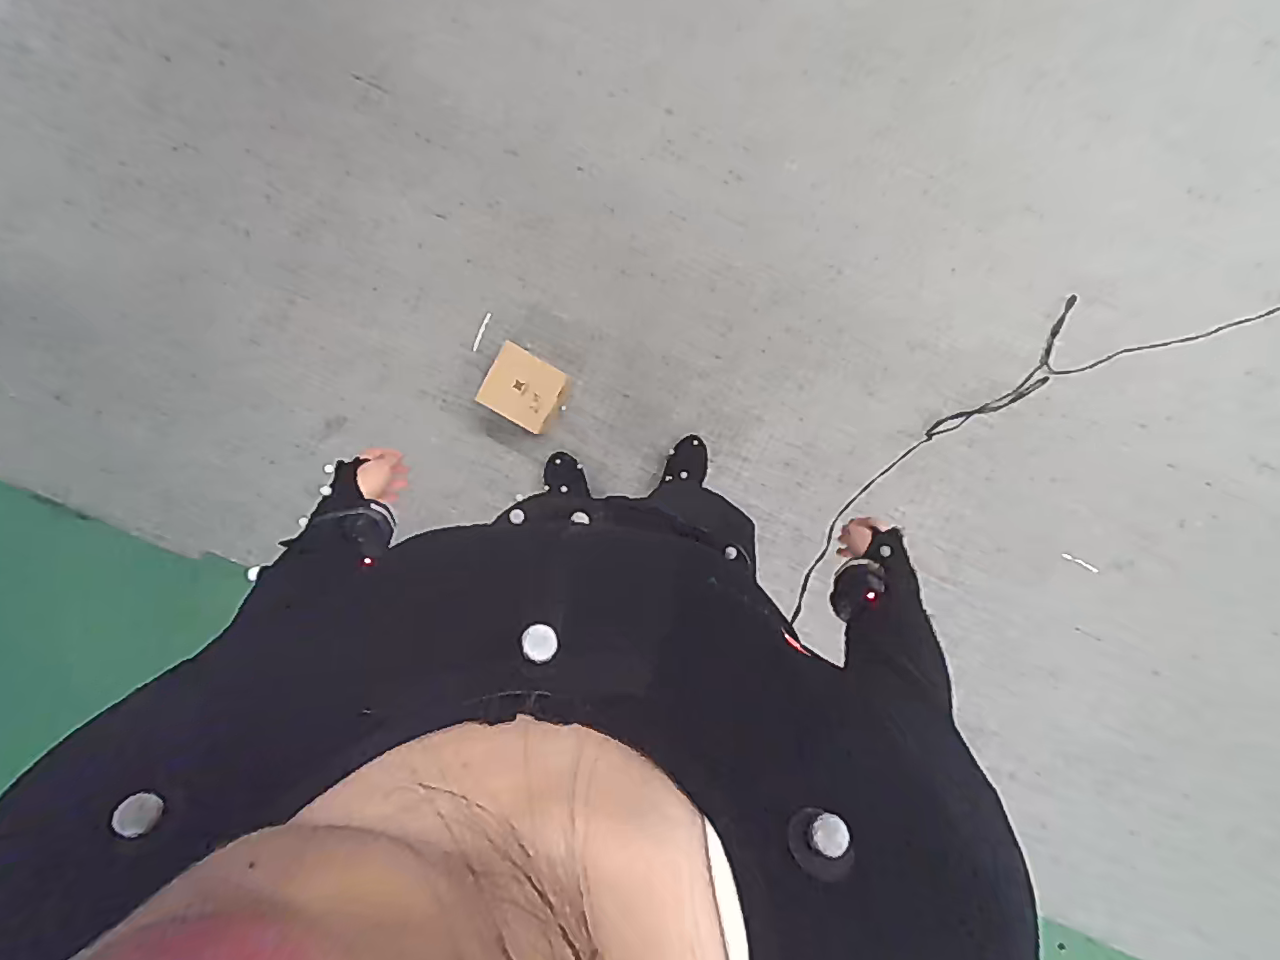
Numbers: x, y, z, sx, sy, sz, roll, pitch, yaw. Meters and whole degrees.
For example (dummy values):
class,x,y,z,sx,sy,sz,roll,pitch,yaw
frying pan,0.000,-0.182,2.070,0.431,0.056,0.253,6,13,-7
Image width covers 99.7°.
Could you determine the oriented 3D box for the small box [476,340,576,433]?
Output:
class,x,y,z,sx,sy,sz,roll,pitch,yaw
small box,-0.282,-0.233,1.380,0.179,0.176,0.168,30,97,-3
